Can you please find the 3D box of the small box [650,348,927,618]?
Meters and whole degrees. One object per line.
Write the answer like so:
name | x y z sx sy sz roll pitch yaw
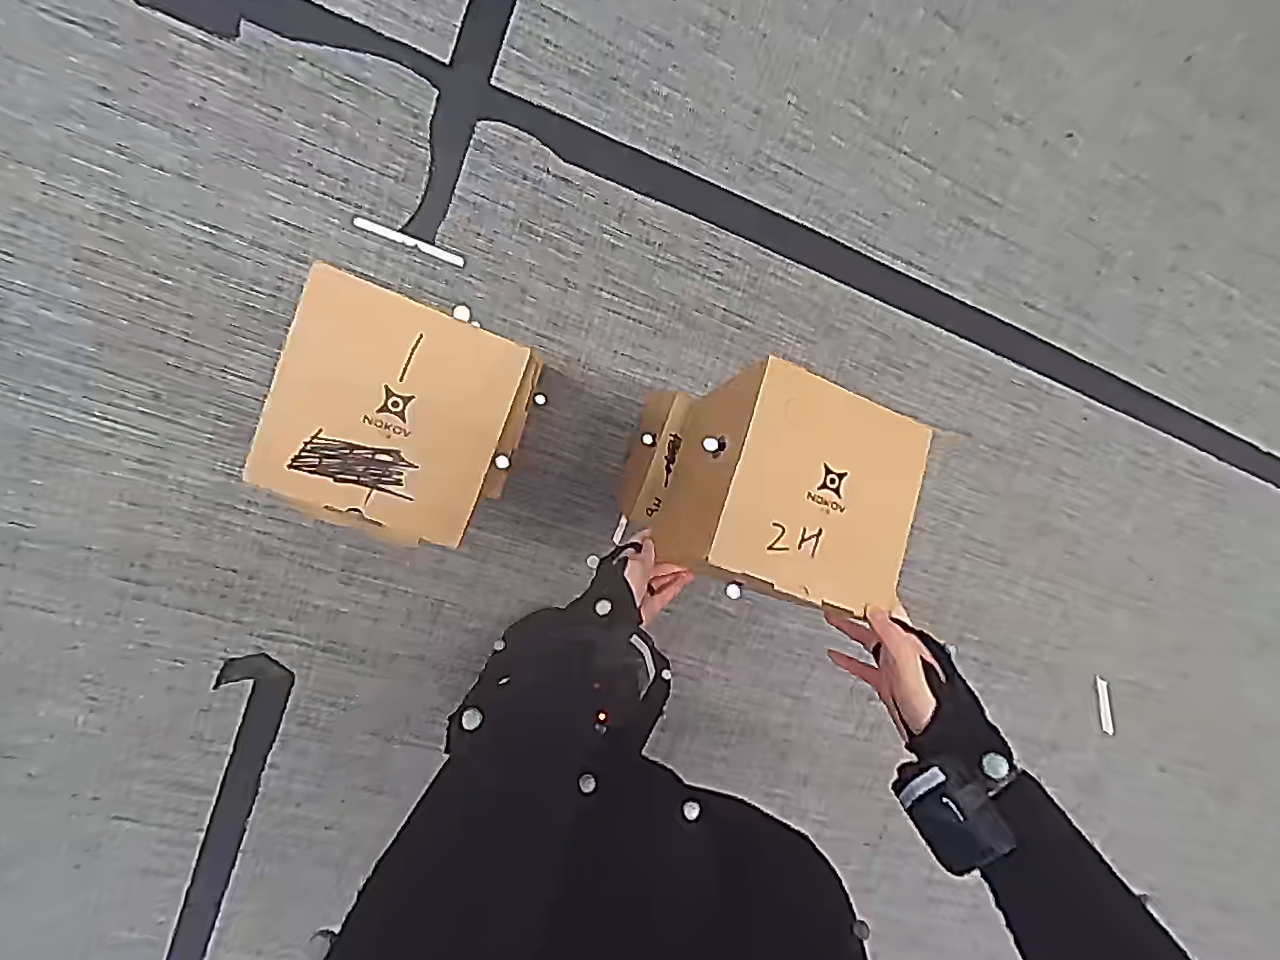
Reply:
small box | 0.124 0.010 0.506 0.168 0.176 0.179 21 80 -12

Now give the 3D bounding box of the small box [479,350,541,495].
small box | -0.225 -0.100 0.644 0.179 0.176 0.168 18 97 -13

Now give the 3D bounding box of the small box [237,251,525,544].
small box | -0.206 -0.069 0.484 0.168 0.176 0.179 21 95 -14

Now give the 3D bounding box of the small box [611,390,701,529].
small box | 0.077 -0.016 0.713 0.179 0.176 0.168 19 97 -14
